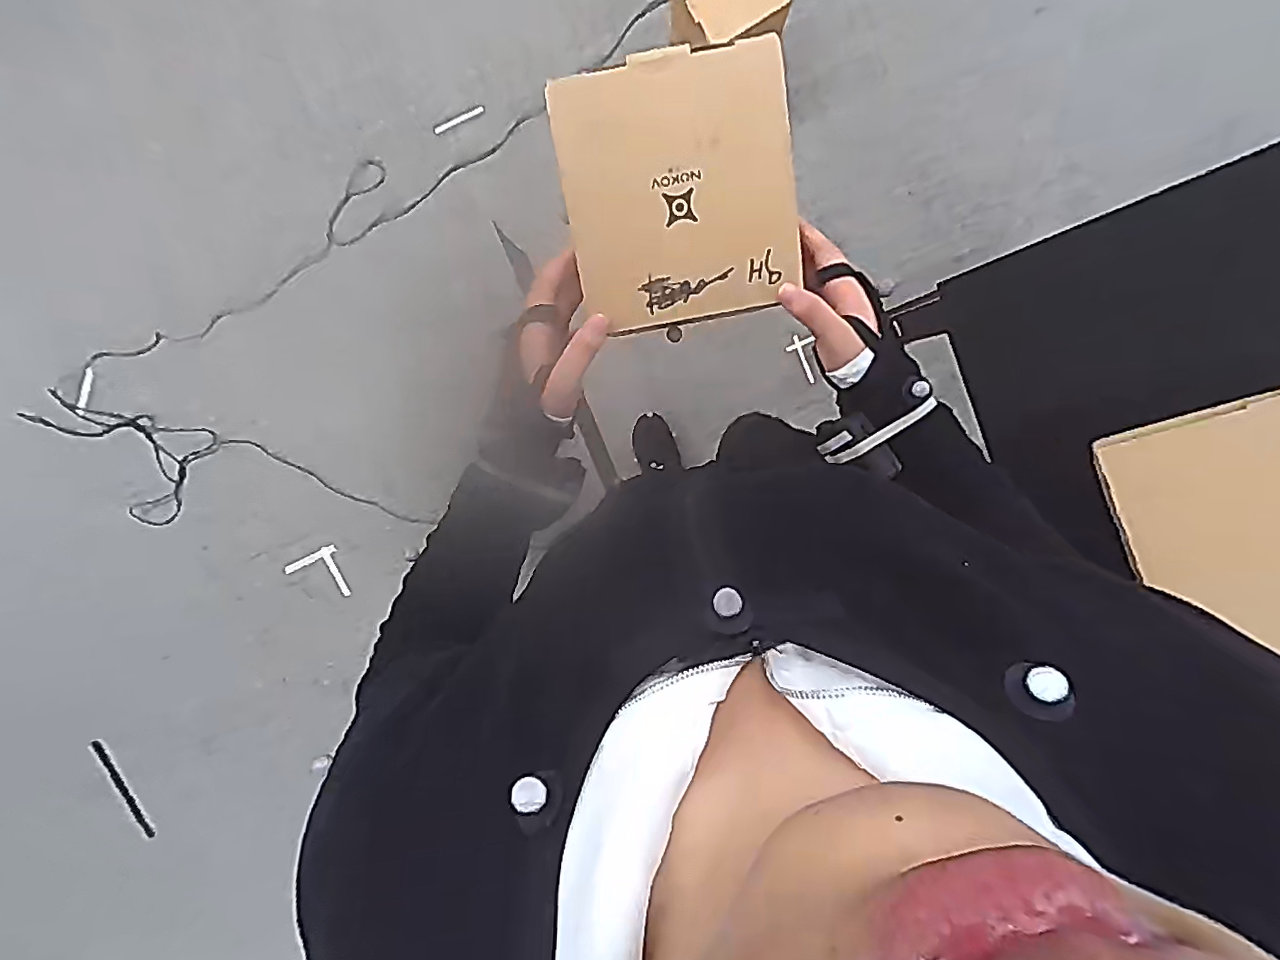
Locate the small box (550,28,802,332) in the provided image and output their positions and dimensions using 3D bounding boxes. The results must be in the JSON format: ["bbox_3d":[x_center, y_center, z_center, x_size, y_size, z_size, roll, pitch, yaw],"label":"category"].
[{"bbox_3d":[0.029,-0.232,0.469,0.168,0.176,0.179,-9,103,3],"label":"small box"}]

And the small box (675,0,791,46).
[{"bbox_3d":[0.181,-0.949,1.112,0.179,0.176,0.168,-29,96,5],"label":"small box"}]
